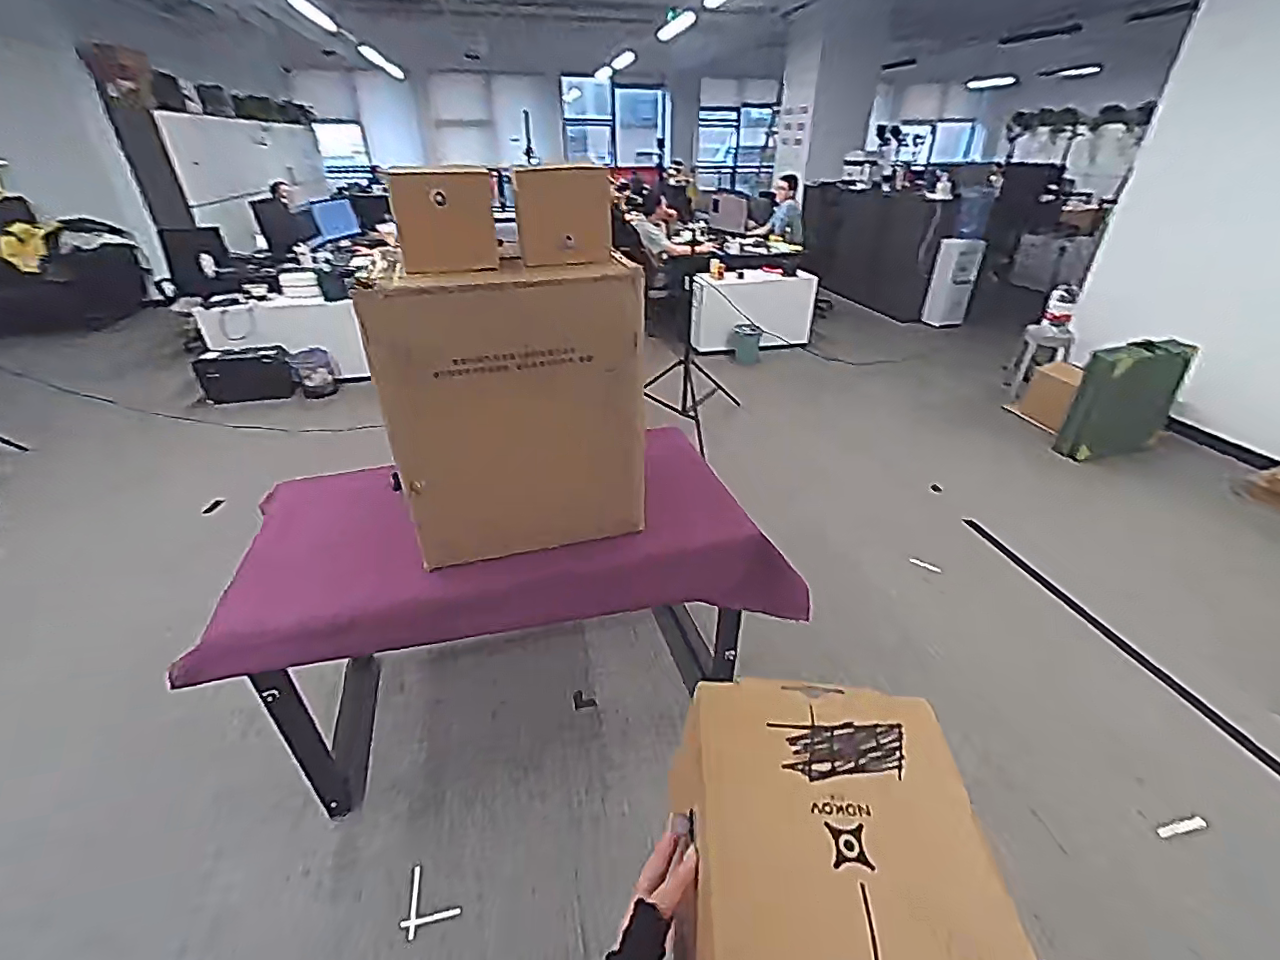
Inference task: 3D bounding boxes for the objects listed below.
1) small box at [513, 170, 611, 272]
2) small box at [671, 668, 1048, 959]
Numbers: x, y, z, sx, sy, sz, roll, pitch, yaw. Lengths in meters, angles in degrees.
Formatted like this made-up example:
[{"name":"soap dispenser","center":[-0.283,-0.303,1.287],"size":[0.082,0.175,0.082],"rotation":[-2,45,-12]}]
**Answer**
[{"name":"small box","center":[-0.158,-0.531,1.104],"size":[0.179,0.176,0.168],"rotation":[-9,33,-12]},{"name":"small box","center":[0.113,0.255,0.362],"size":[0.168,0.176,0.179],"rotation":[4,38,-2]}]
